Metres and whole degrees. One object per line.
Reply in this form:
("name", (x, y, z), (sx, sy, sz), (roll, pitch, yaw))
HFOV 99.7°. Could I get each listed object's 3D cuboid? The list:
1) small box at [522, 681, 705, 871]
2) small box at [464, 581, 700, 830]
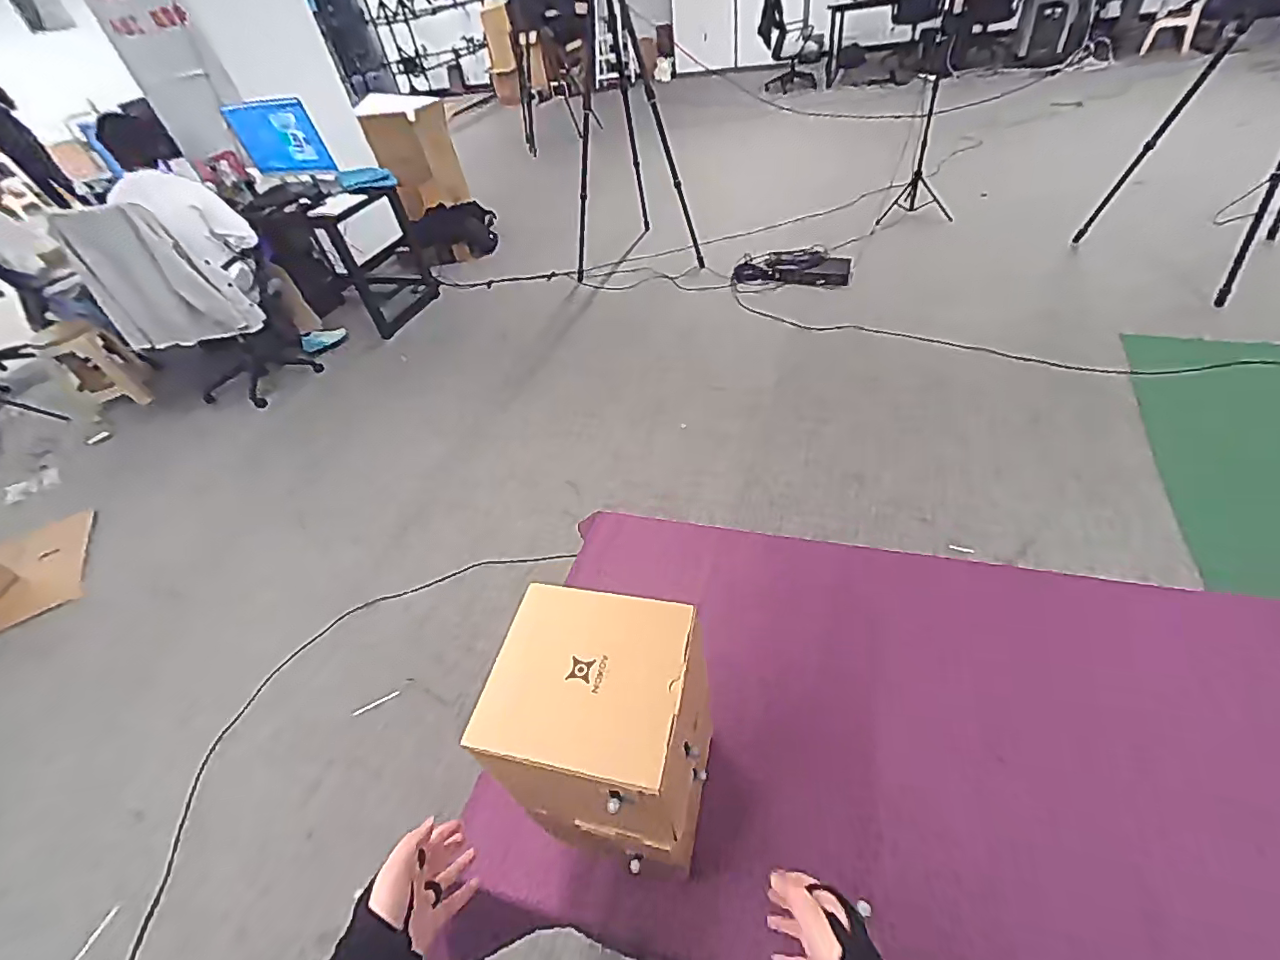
("small box", (-0.016, 0.341, 0.656), (0.168, 0.176, 0.179), (7, 47, 15))
("small box", (-0.040, 0.226, 0.543), (0.179, 0.176, 0.168), (6, 47, 14))
